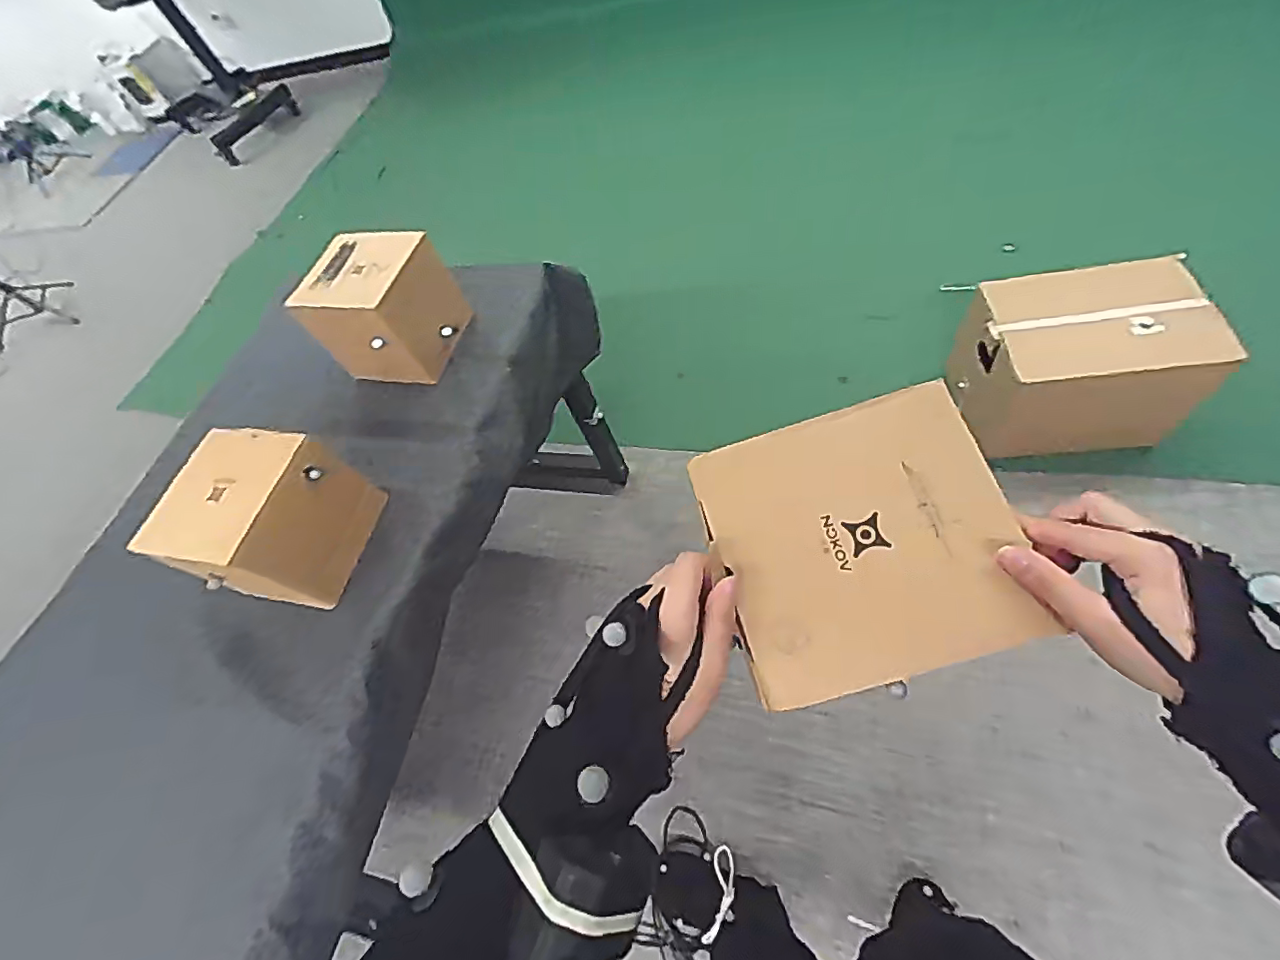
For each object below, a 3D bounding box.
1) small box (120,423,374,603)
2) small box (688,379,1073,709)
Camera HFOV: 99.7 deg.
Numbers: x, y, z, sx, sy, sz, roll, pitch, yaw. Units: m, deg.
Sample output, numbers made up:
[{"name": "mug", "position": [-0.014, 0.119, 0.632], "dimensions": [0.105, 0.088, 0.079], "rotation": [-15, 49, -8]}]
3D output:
[{"name": "small box", "position": [-0.489, 0.047, 0.705], "dimensions": [0.168, 0.176, 0.179], "rotation": [5, 60, 17]}, {"name": "small box", "position": [0.145, 0.057, 0.398], "dimensions": [0.179, 0.176, 0.168], "rotation": [-17, 71, 3]}]
